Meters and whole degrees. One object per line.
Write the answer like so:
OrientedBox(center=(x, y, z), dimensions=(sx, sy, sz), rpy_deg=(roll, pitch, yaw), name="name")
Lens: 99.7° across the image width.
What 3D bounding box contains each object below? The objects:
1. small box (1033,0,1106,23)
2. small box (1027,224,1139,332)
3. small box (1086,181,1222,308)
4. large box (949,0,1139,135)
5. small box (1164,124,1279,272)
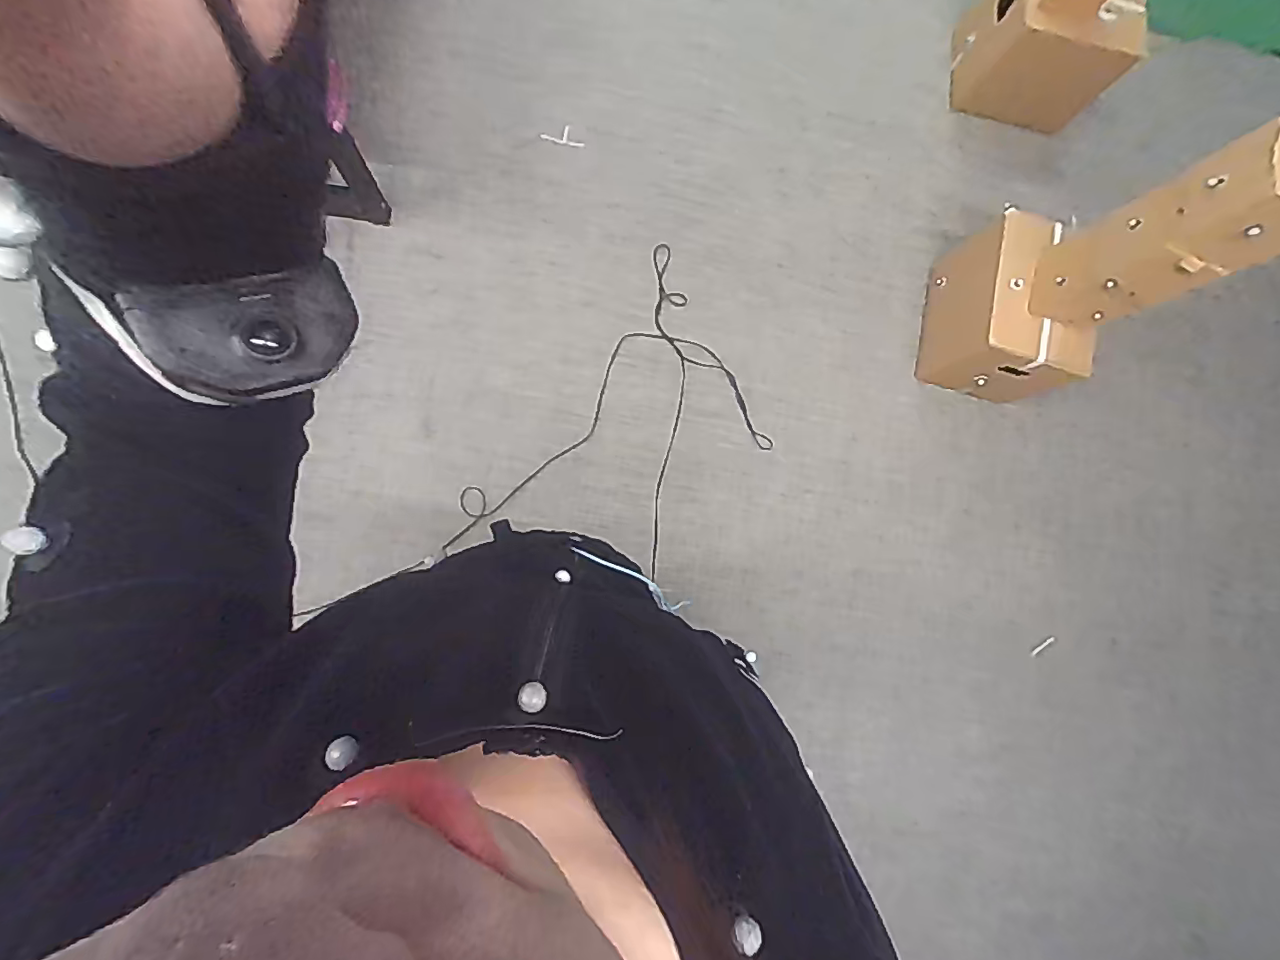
OrientedBox(center=(1.236, -1.429, 1.500), dimensions=(0.179, 0.176, 0.168), rpy_deg=(10, 82, -8), name="small box")
OrientedBox(center=(1.135, -0.503, 1.380), dimensions=(0.168, 0.176, 0.179), rpy_deg=(18, 81, -8), name="small box")
OrientedBox(center=(1.158, -0.518, 1.218), dimensions=(0.168, 0.176, 0.179), rpy_deg=(20, 80, -8), name="small box")
OrientedBox(center=(1.287, -1.400, 1.753), dimensions=(0.408, 0.320, 0.320), rpy_deg=(8, 83, -8), name="large box")
OrientedBox(center=(1.190, -0.537, 1.058), dimensions=(0.179, 0.176, 0.168), rpy_deg=(18, 82, -7), name="small box")
